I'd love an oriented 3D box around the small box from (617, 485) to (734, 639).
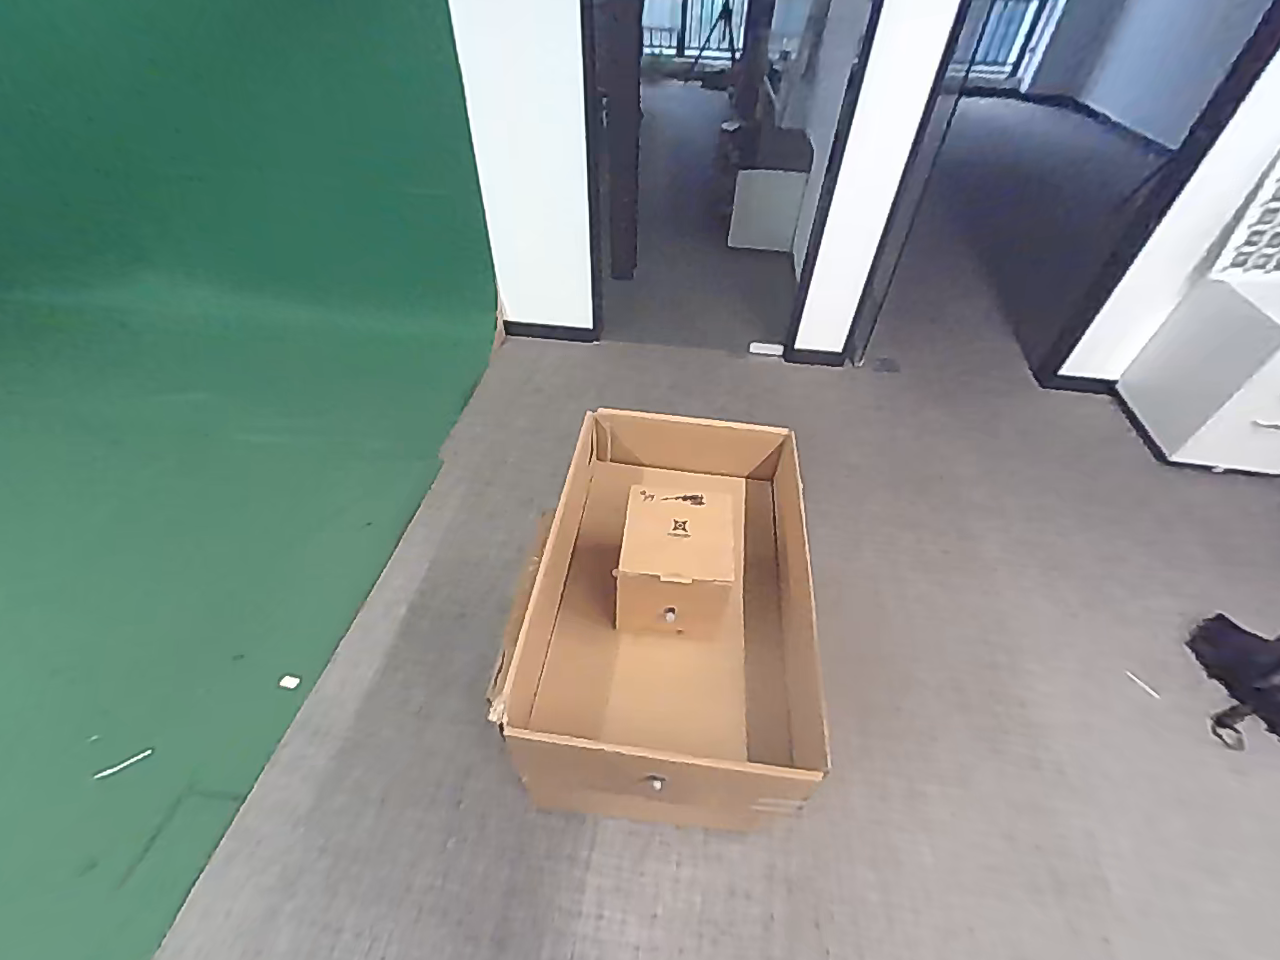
[{"bbox_3d":[0.057,0.134,0.867,0.168,0.176,0.179,6,46,3],"label":"small box"}]
